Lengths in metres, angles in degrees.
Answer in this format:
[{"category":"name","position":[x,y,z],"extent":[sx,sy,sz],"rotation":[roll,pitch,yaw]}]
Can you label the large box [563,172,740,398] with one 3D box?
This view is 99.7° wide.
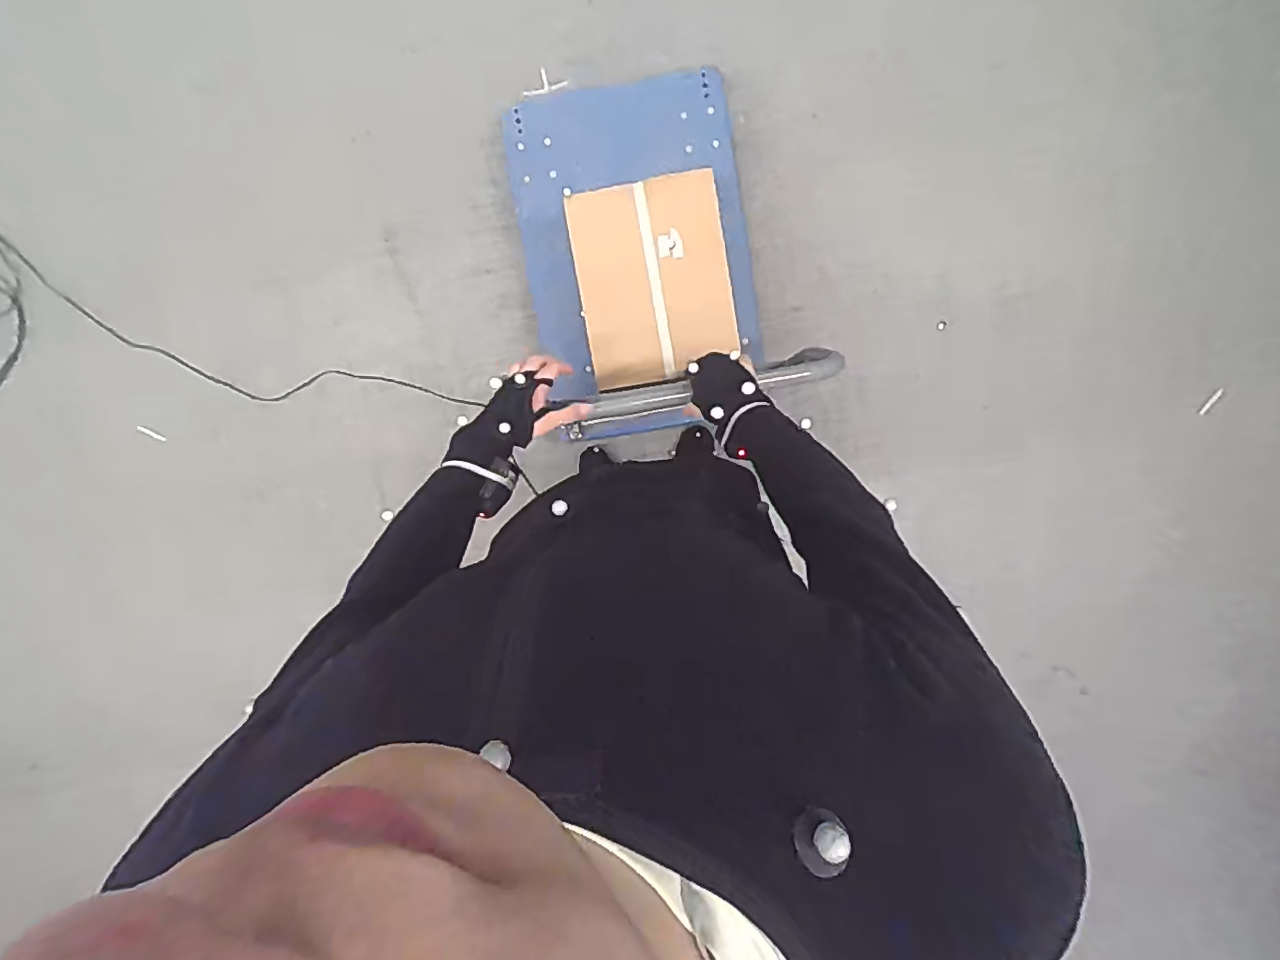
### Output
[{"category":"large box","position":[0.030,-0.426,1.280],"extent":[0.320,0.320,0.408],"rotation":[-10,95,1]}]
